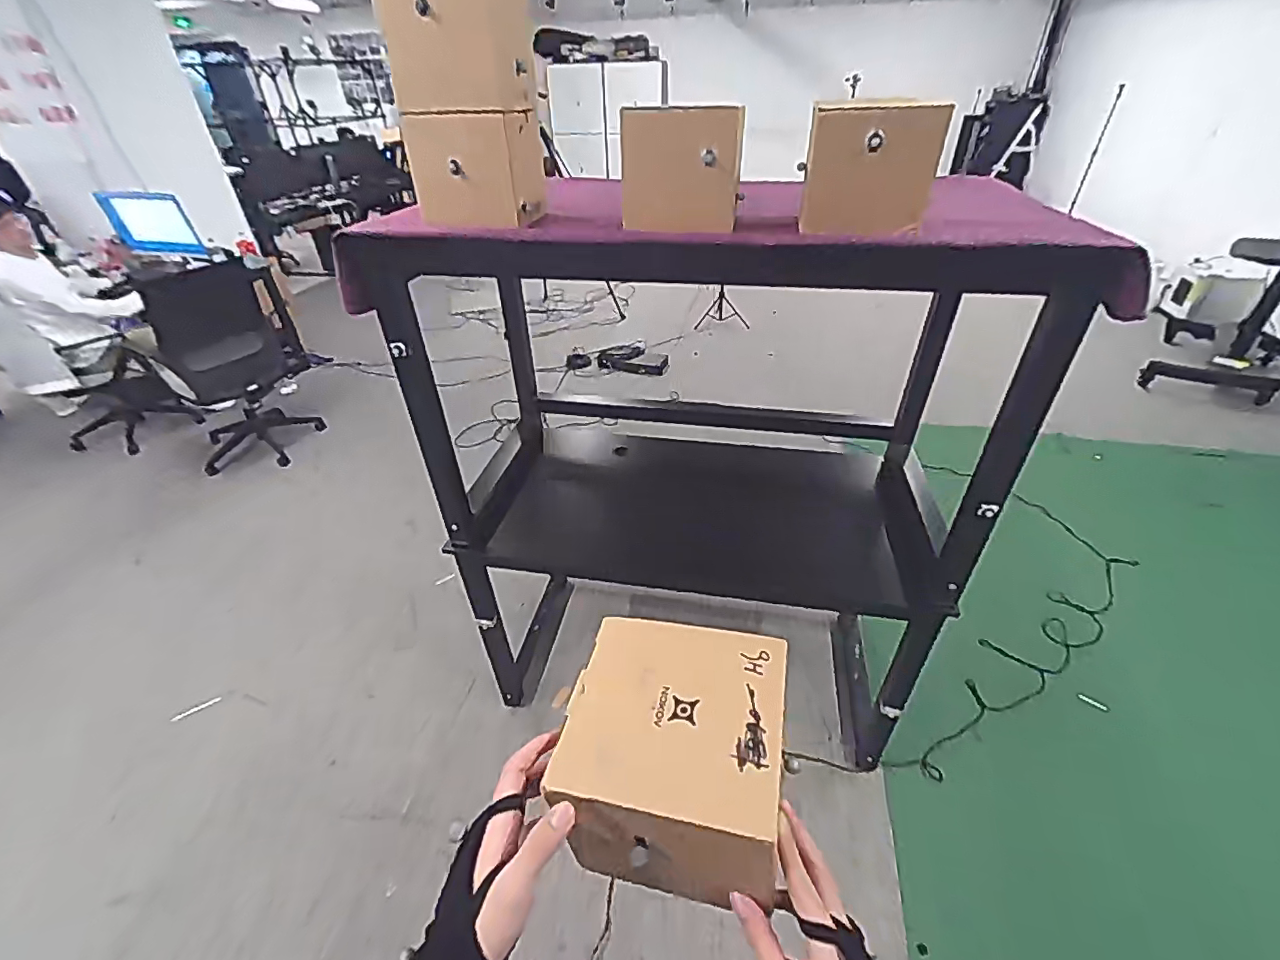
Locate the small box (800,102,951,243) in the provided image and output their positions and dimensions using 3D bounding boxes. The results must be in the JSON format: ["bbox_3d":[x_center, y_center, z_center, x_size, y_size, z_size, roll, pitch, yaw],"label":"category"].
[{"bbox_3d":[0.344,-0.470,0.828,0.179,0.176,0.168,7,39,12],"label":"small box"}]

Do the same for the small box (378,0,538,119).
[{"bbox_3d":[-0.274,-0.662,0.839,0.179,0.176,0.168,5,37,9],"label":"small box"}]

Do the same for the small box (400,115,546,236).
[{"bbox_3d":[-0.272,-0.528,0.934,0.179,0.176,0.168,4,36,9],"label":"small box"}]
